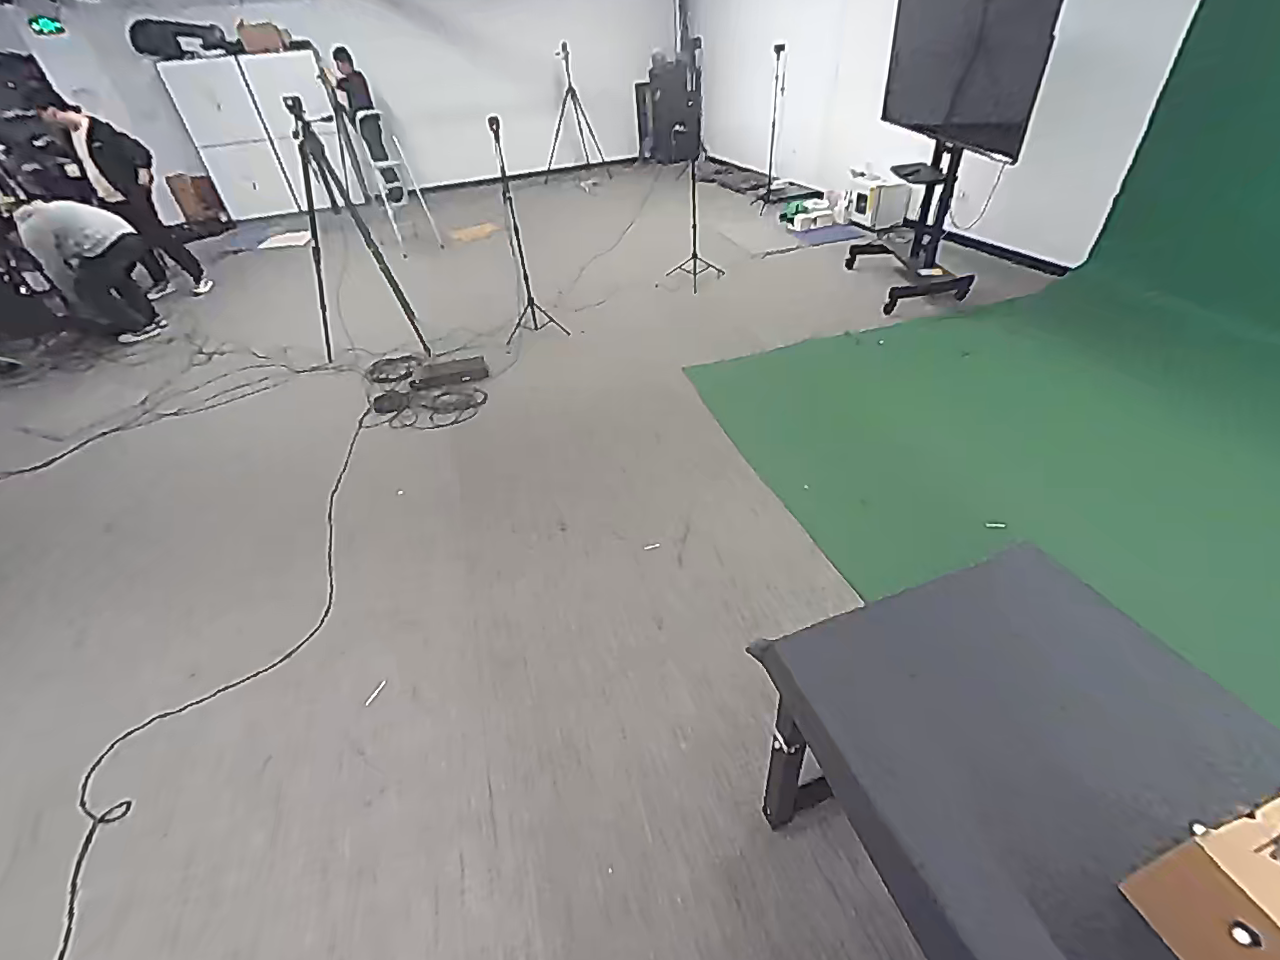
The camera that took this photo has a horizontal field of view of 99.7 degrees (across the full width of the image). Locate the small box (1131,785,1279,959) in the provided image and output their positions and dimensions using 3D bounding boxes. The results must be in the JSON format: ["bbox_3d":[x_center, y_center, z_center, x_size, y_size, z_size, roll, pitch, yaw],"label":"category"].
[{"bbox_3d":[0.694,0.463,0.573,0.168,0.176,0.179,-16,41,-11],"label":"small box"}]
